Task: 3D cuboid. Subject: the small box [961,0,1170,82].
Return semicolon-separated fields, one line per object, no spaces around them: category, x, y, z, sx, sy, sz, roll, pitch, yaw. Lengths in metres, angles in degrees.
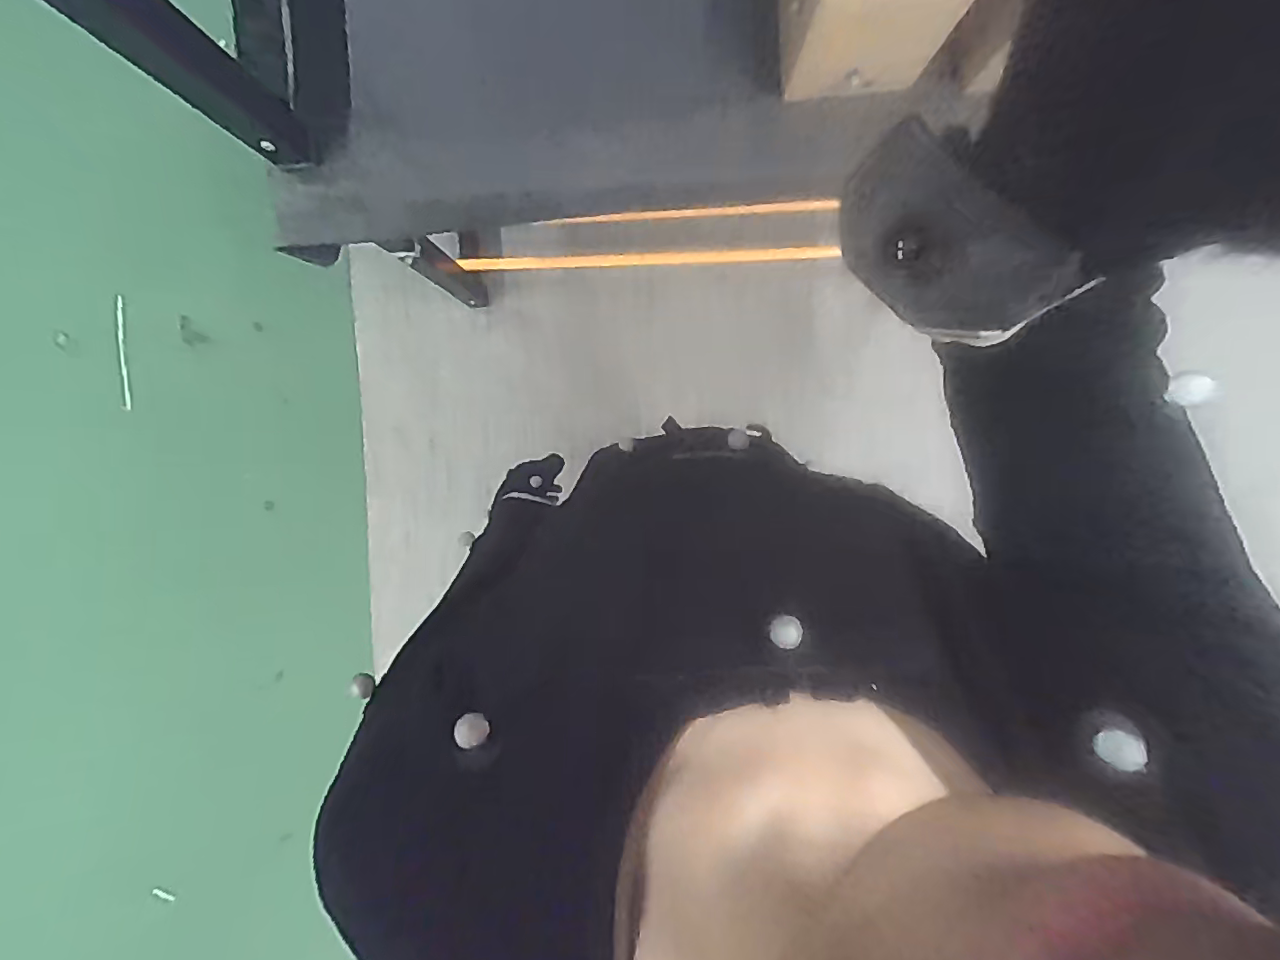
small box;0.489;-0.587;0.609;0.168;0.176;0.179;-6;94;2
